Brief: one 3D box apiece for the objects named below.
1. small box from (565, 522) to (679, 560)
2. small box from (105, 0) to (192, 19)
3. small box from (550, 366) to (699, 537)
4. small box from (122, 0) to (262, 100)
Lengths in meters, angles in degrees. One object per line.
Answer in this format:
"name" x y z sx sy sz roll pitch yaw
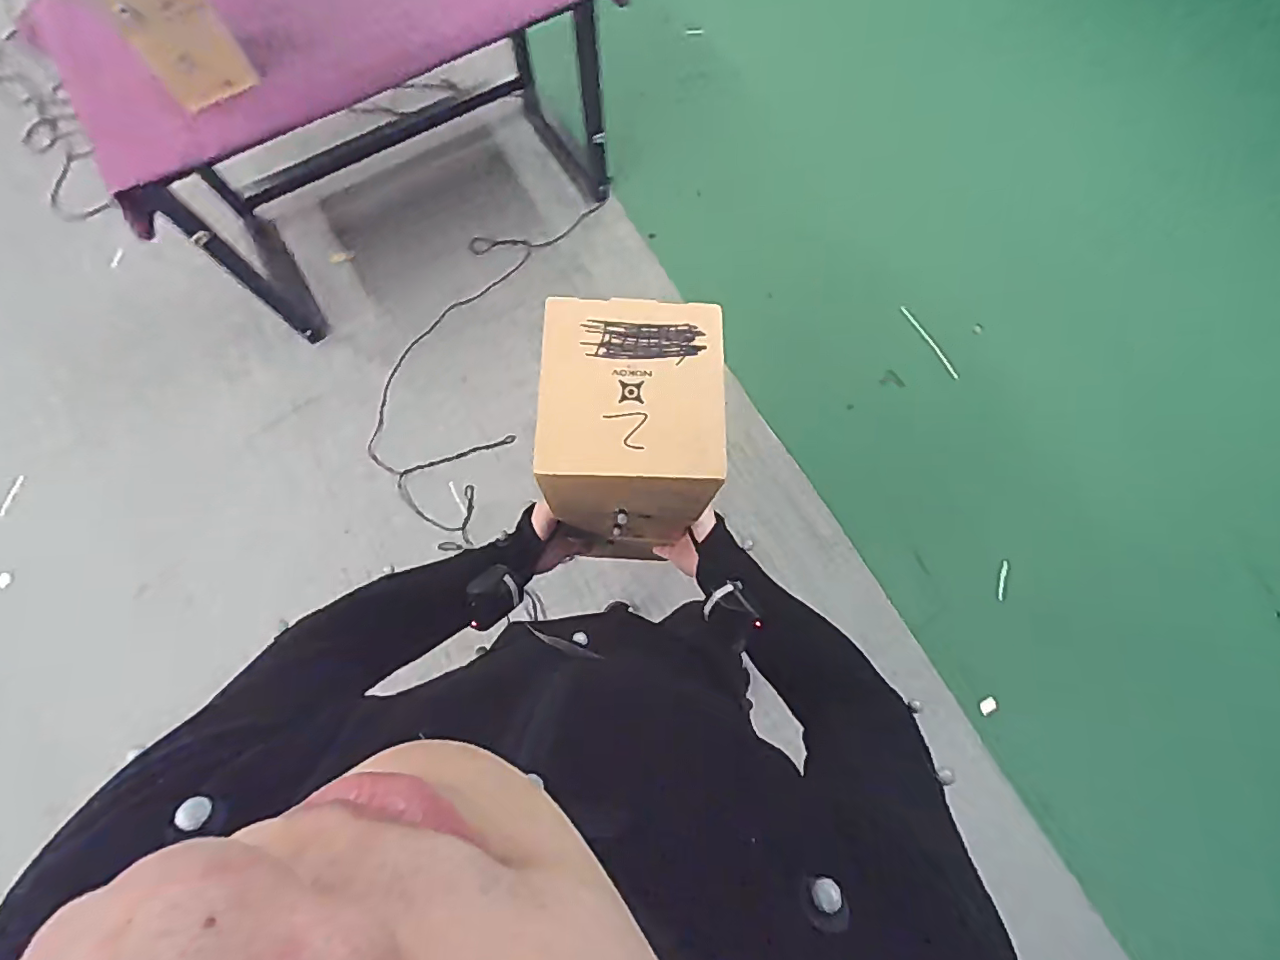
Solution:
"small box" -0.025 0.025 0.869 0.168 0.176 0.179 4 73 -1
"small box" -0.943 -0.982 0.971 0.168 0.176 0.179 -32 76 -8
"small box" -0.018 -0.027 0.711 0.168 0.176 0.179 4 72 -2
"small box" -0.945 -0.941 1.131 0.168 0.176 0.179 -32 77 -8
